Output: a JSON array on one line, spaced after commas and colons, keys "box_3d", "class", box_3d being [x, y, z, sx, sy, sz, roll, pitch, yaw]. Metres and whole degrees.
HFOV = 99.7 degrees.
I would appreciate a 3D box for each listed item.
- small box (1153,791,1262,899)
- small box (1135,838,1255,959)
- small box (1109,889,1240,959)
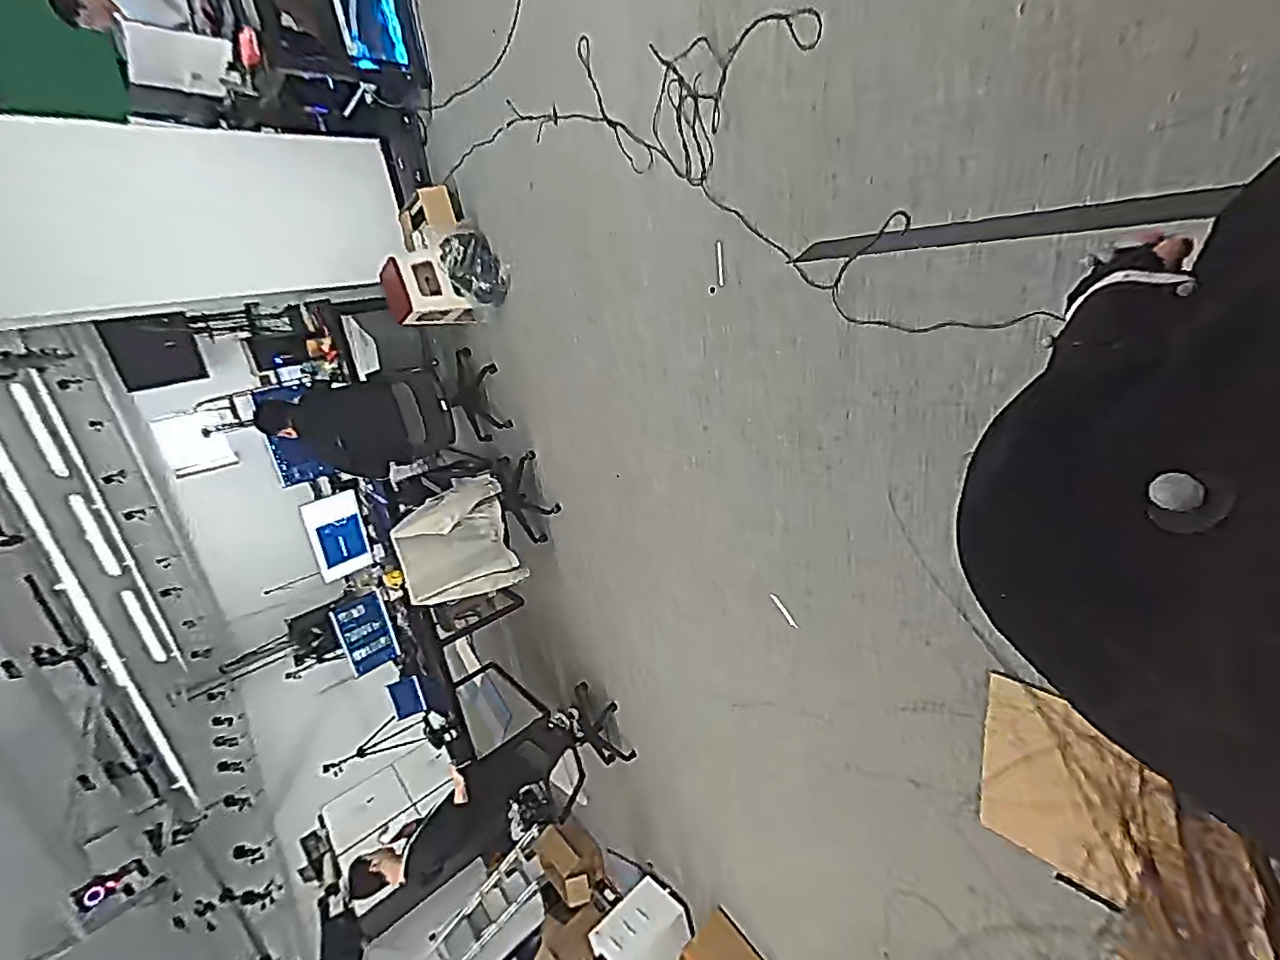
[{"box_3d": [1.308, 0.877, 1.257, 0.168, 0.176, 0.179, 11, 117, 49], "class": "small box"}, {"box_3d": [1.187, 0.933, 1.163, 0.168, 0.176, 0.179, 9, 117, 50], "class": "small box"}, {"box_3d": [1.056, 0.983, 1.075, 0.168, 0.176, 0.179, 9, 115, 50], "class": "small box"}]
